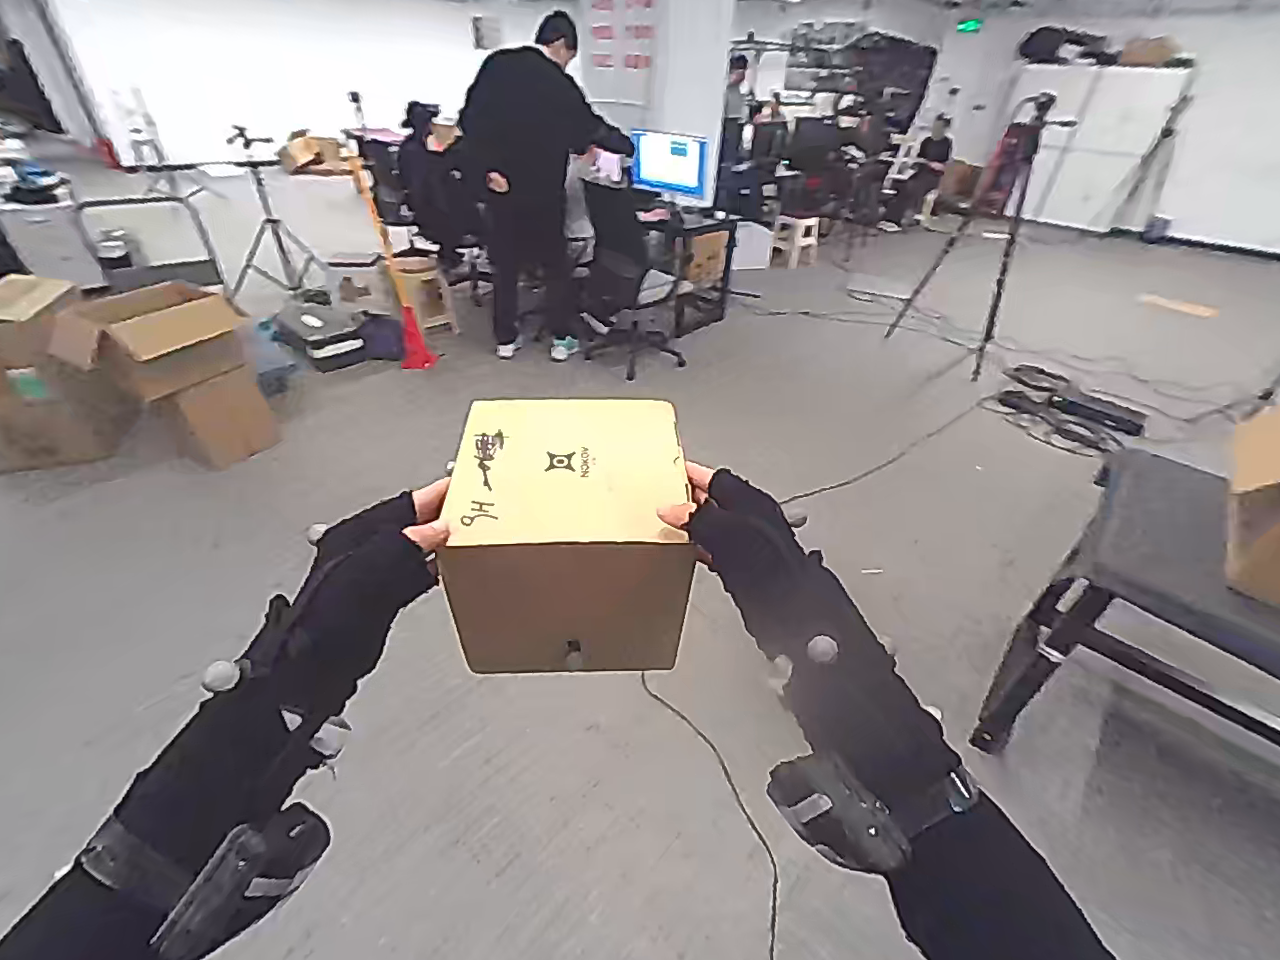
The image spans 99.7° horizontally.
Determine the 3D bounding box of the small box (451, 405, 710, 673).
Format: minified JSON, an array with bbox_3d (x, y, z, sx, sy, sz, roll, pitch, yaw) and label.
[{"bbox_3d":[-0.047,0.053,0.472,0.179,0.176,0.168,1,41,-5],"label":"small box"}]
